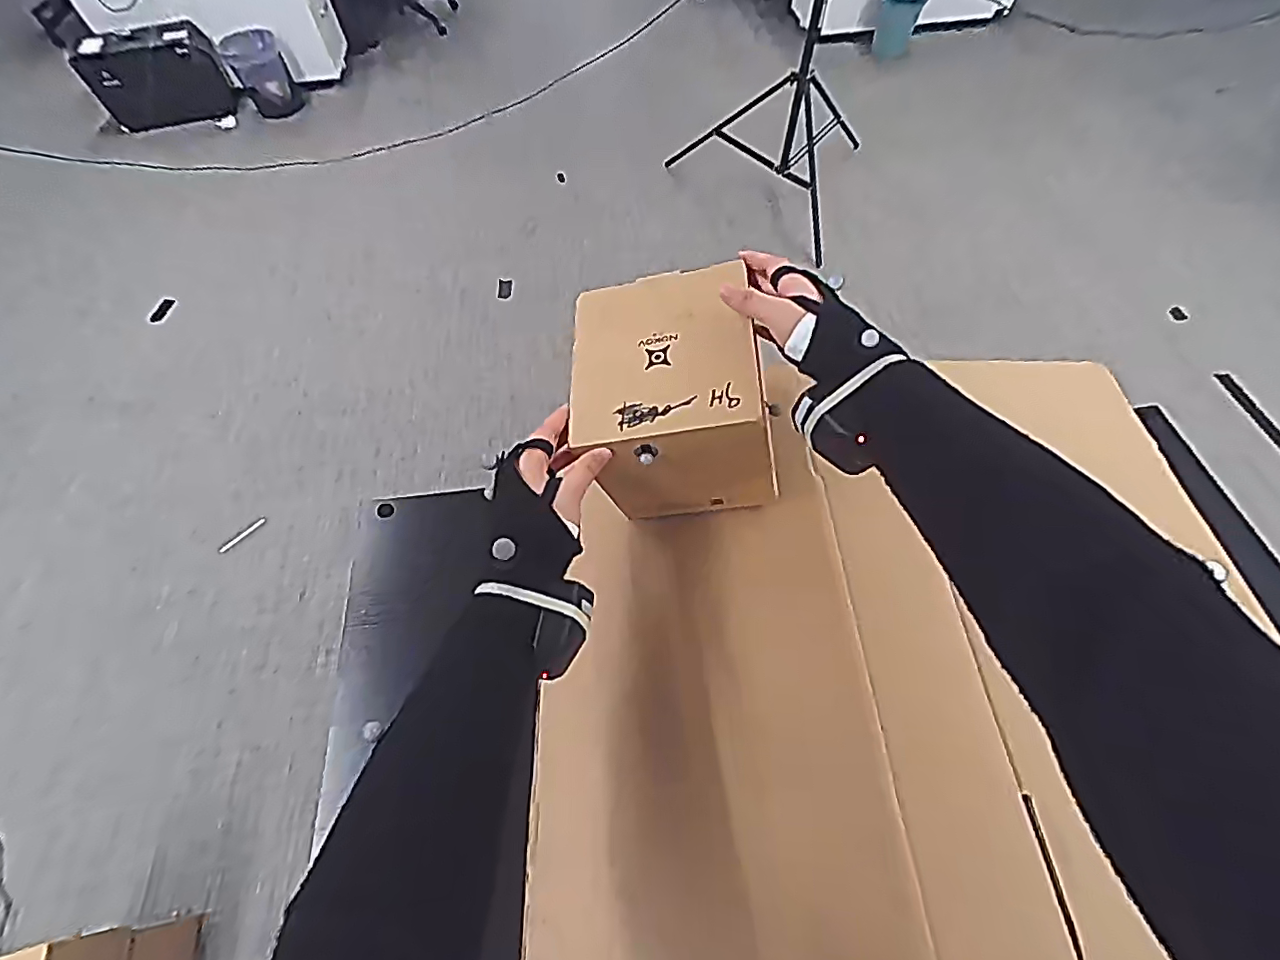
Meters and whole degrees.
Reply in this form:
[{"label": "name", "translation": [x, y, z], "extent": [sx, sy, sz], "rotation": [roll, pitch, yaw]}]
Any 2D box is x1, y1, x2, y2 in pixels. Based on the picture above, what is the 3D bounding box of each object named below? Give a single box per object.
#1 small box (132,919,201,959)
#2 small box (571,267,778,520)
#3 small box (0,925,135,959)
[{"label": "small box", "translation": [-0.968, 0.948, 1.005], "extent": [0.168, 0.176, 0.179], "rotation": [-11, 60, -5]}, {"label": "small box", "translation": [0.044, -0.076, 0.547], "extent": [0.168, 0.176, 0.179], "rotation": [-8, 62, 16]}, {"label": "small box", "translation": [-0.974, 0.859, 0.869], "extent": [0.168, 0.176, 0.179], "rotation": [-13, 58, -7]}]
